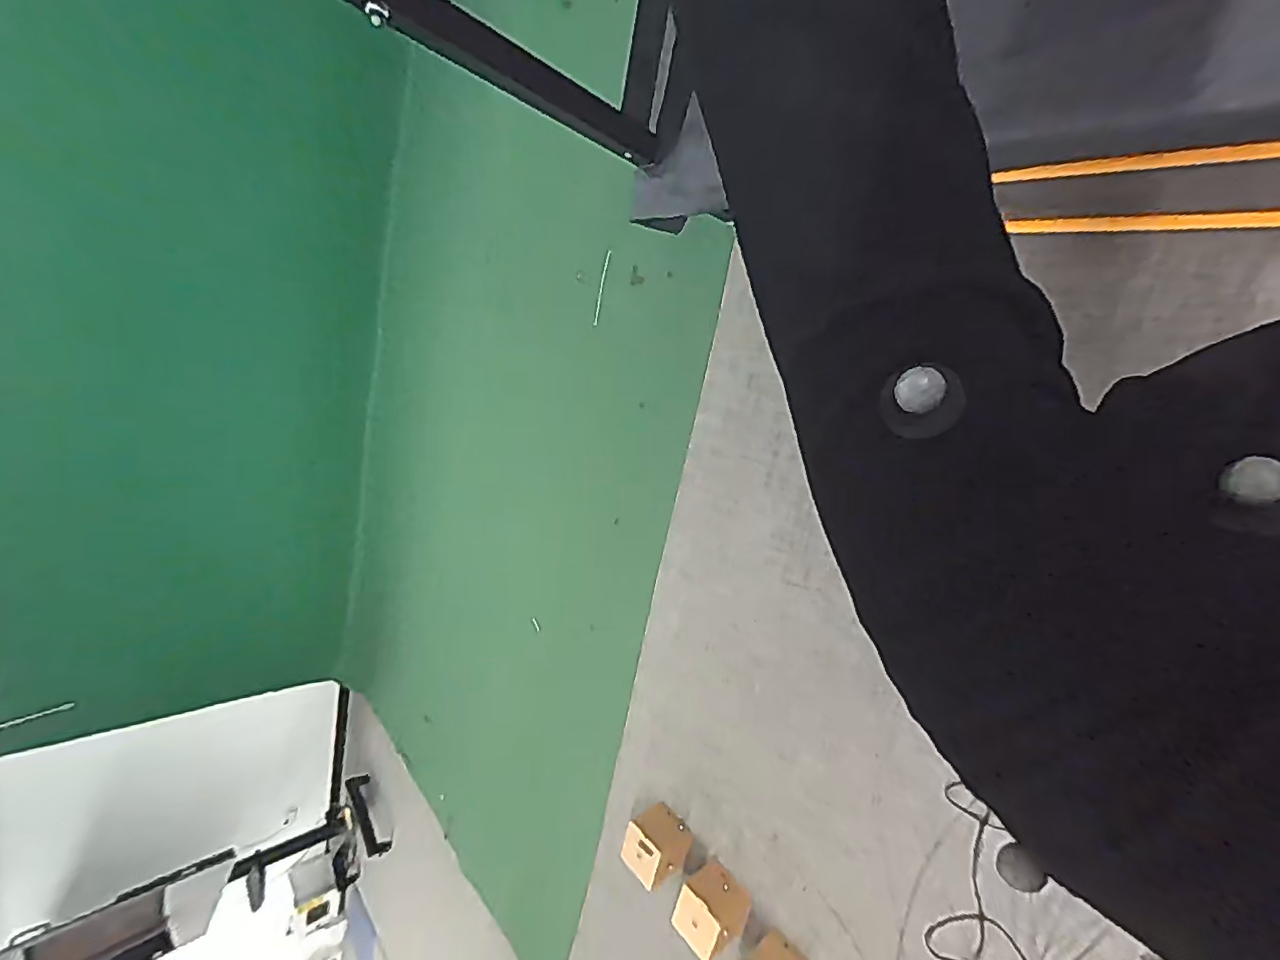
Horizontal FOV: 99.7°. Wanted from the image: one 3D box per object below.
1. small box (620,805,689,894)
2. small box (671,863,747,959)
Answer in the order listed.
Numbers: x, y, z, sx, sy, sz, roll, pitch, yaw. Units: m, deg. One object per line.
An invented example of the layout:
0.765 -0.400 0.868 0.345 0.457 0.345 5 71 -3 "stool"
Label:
0.056 1.341 1.977 0.168 0.176 0.179 26 108 42 "small box"
0.233 1.439 1.800 0.168 0.176 0.179 27 108 42 "small box"
